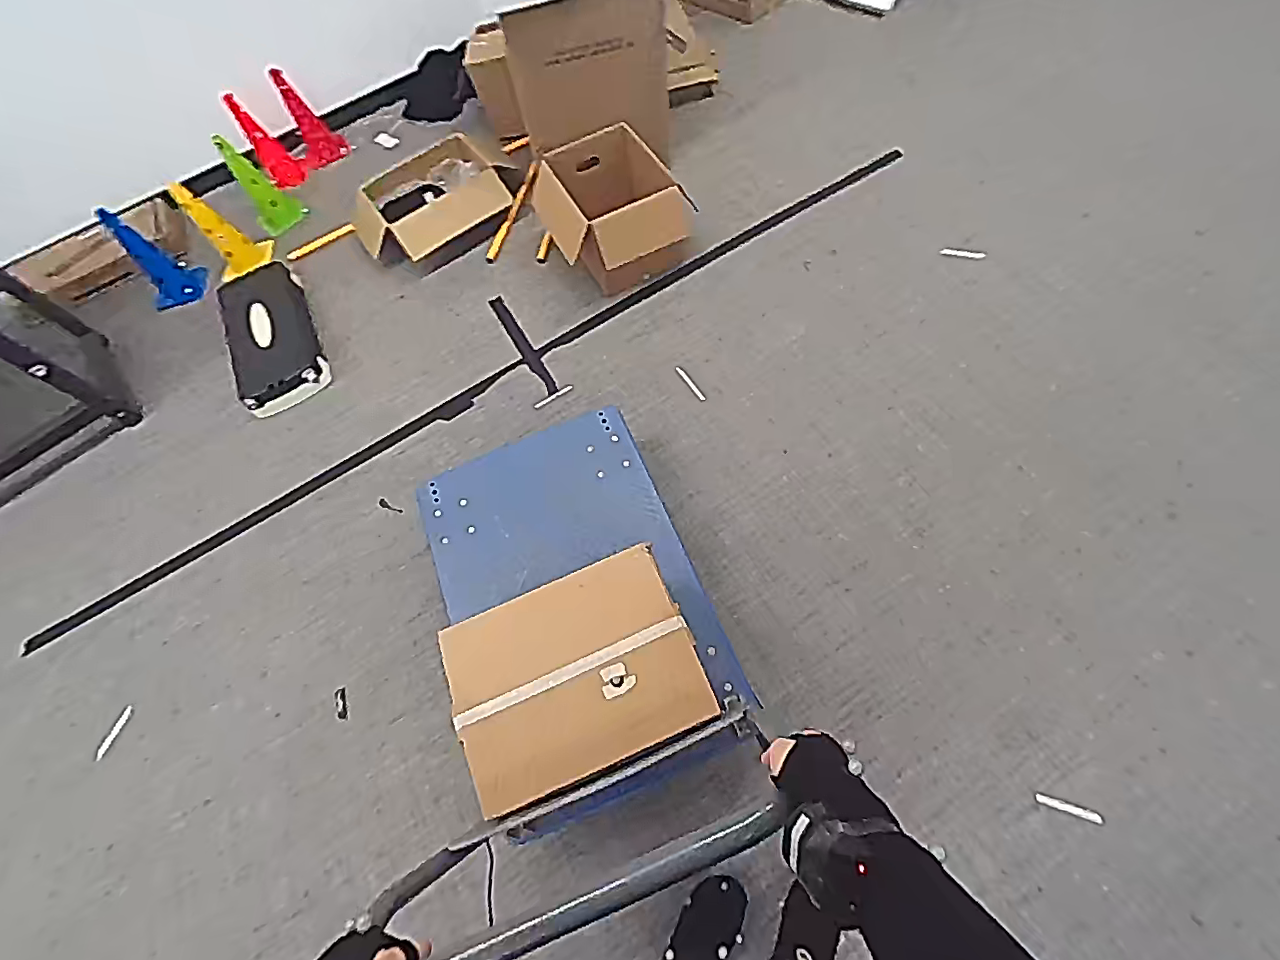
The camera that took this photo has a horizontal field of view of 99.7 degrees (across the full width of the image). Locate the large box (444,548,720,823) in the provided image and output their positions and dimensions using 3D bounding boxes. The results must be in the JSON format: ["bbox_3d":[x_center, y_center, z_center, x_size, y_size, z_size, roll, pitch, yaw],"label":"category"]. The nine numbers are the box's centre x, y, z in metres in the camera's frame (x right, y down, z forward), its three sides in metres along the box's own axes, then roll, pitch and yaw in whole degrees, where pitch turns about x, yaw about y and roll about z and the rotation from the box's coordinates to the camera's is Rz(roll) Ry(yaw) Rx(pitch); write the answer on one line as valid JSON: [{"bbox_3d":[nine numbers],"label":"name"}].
[{"bbox_3d":[-0.095,0.389,1.044,0.408,0.320,0.320,-23,66,-5],"label":"large box"}]
